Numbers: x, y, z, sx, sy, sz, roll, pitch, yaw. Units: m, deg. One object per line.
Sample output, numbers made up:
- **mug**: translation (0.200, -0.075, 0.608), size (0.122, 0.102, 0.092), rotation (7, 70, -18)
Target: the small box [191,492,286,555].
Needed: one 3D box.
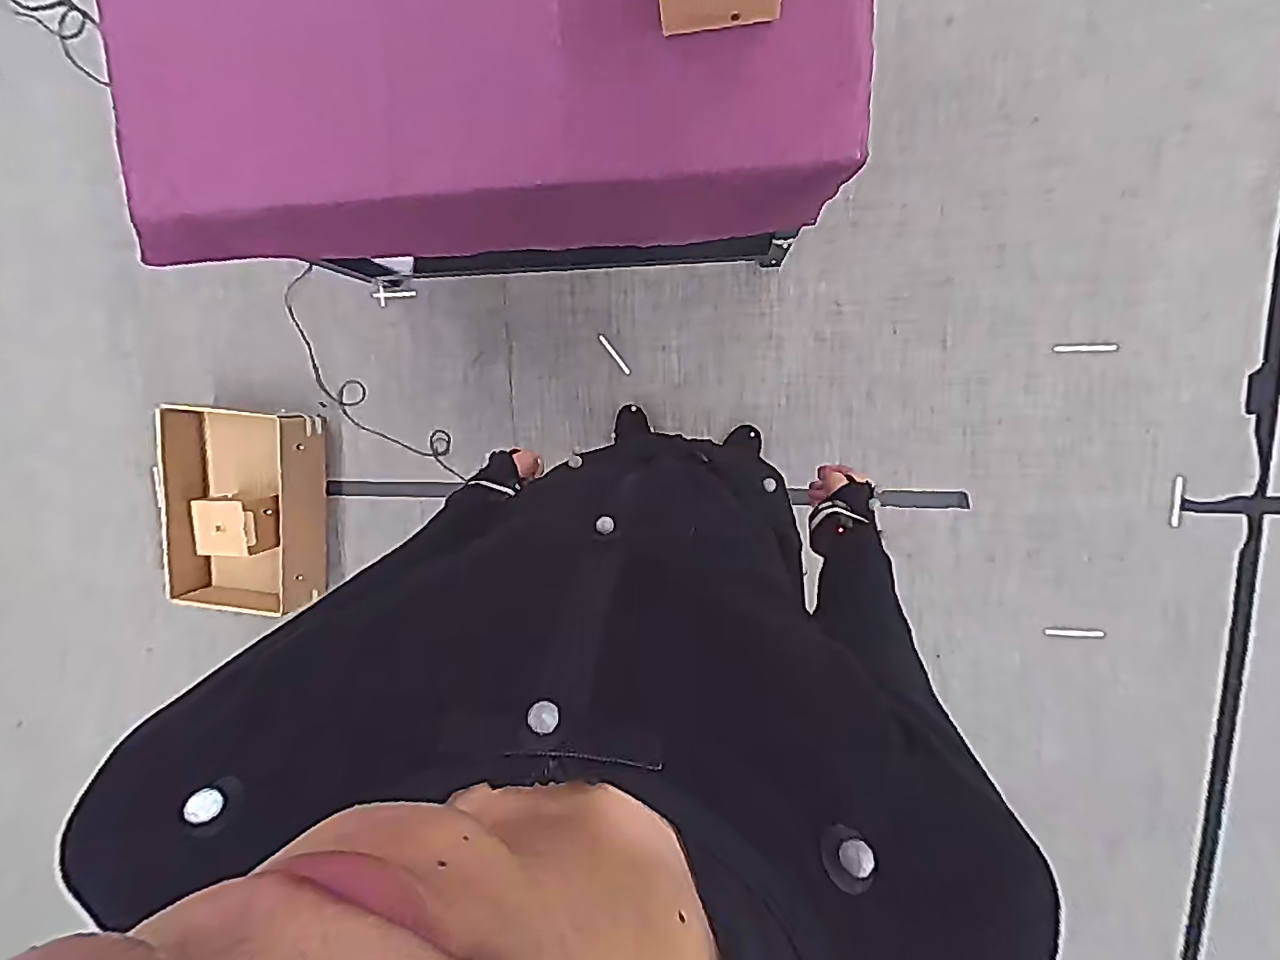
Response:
- **small box**: translation (-1.224, 0.129, 1.666), size (0.179, 0.176, 0.168), rotation (1, 97, 7)
